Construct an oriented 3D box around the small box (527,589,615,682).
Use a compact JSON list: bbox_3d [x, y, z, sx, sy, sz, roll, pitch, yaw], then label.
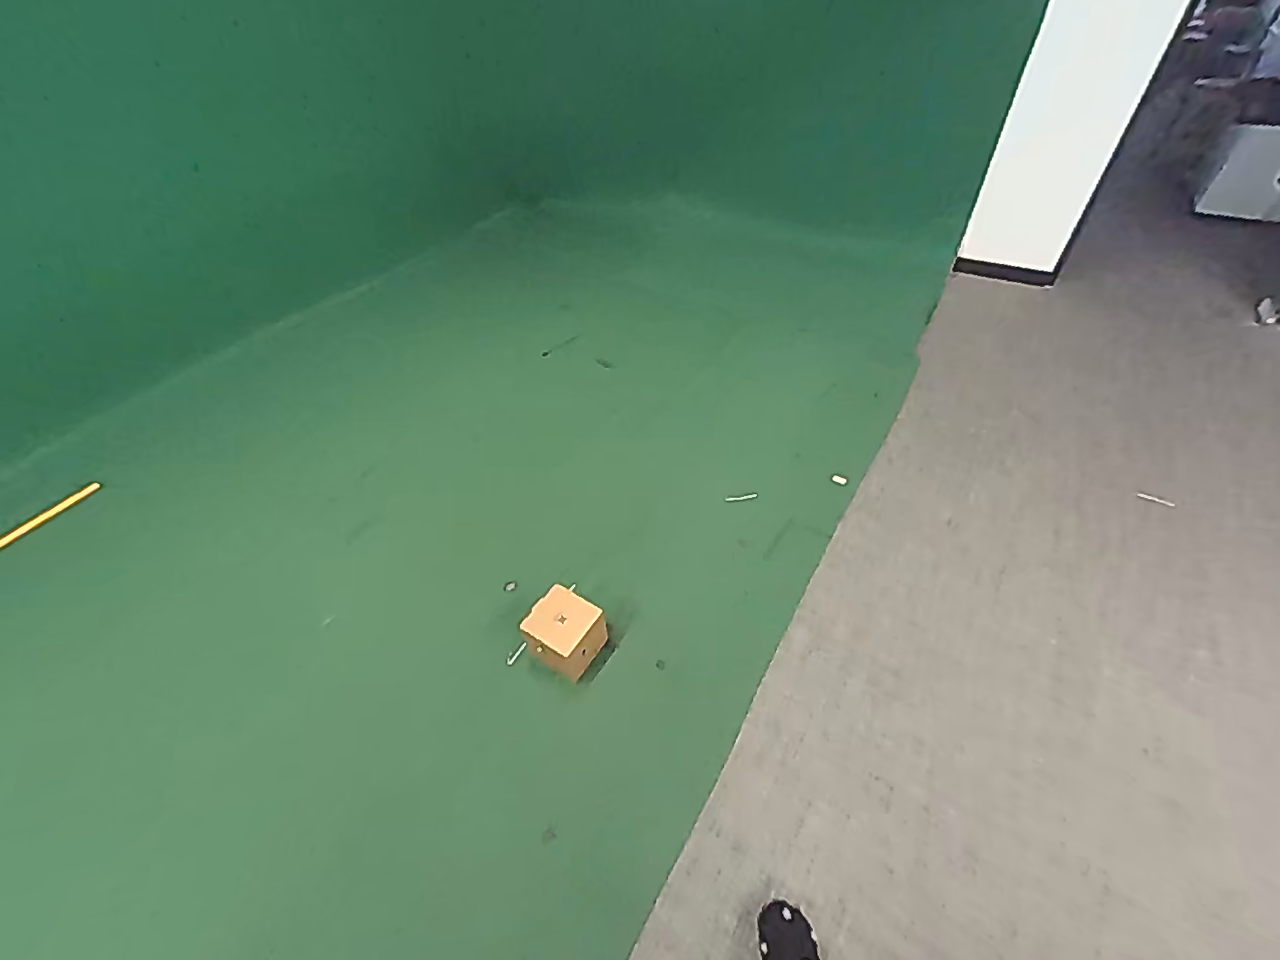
[{"bbox_3d":[-0.191,0.455,1.561,0.179,0.176,0.168,22,53,26],"label":"small box"}]
